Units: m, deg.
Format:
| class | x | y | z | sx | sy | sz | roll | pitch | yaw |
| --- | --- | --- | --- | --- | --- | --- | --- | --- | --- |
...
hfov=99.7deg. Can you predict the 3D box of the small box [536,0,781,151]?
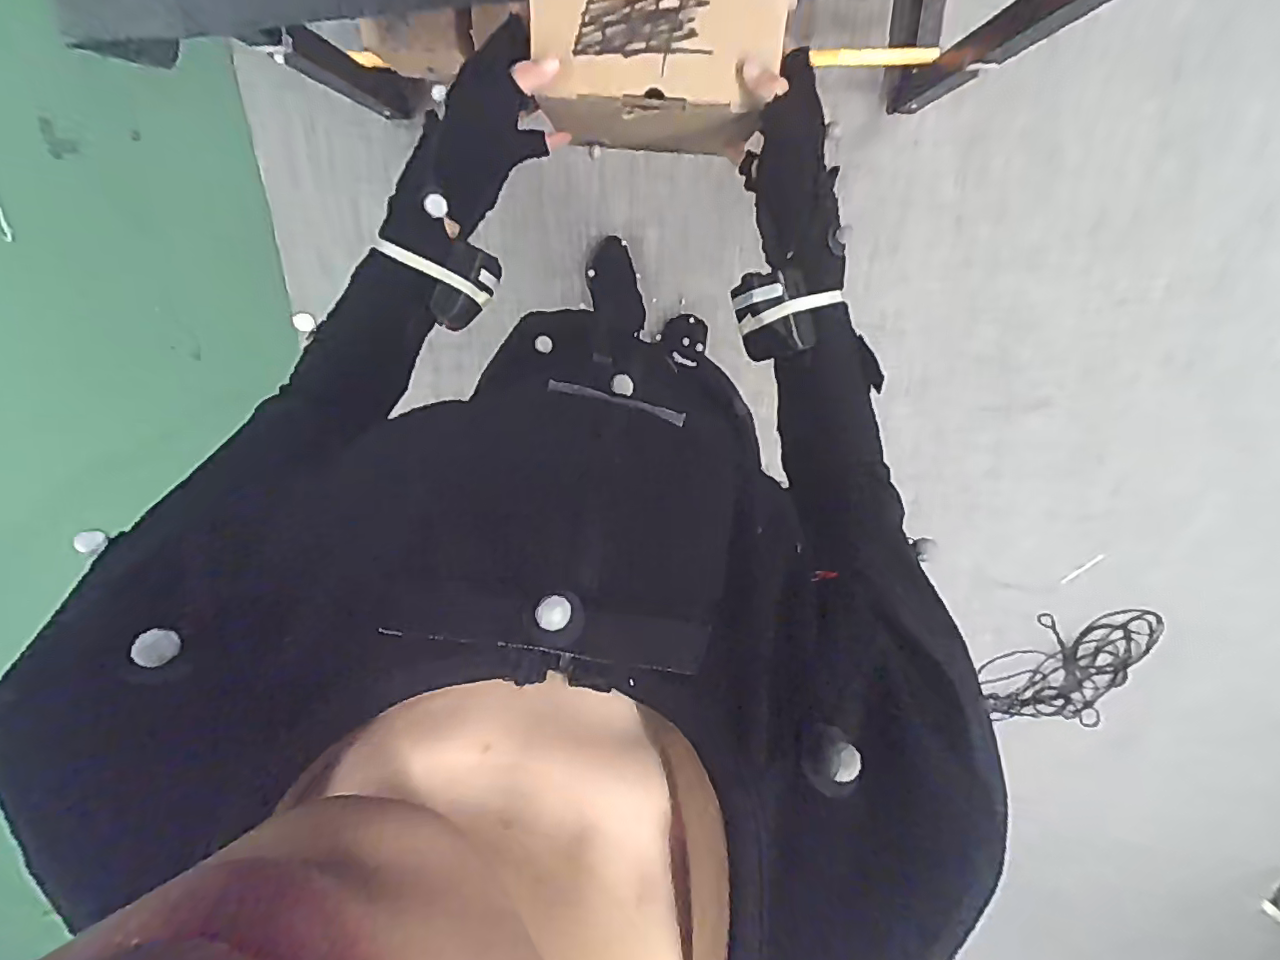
| class | x | y | z | sx | sy | sz | roll | pitch | yaw |
| --- | --- | --- | --- | --- | --- | --- | --- | --- | --- |
| small box | 0.016 | -0.374 | 0.421 | 0.168 | 0.176 | 0.179 | 3 | 110 | -1 |
